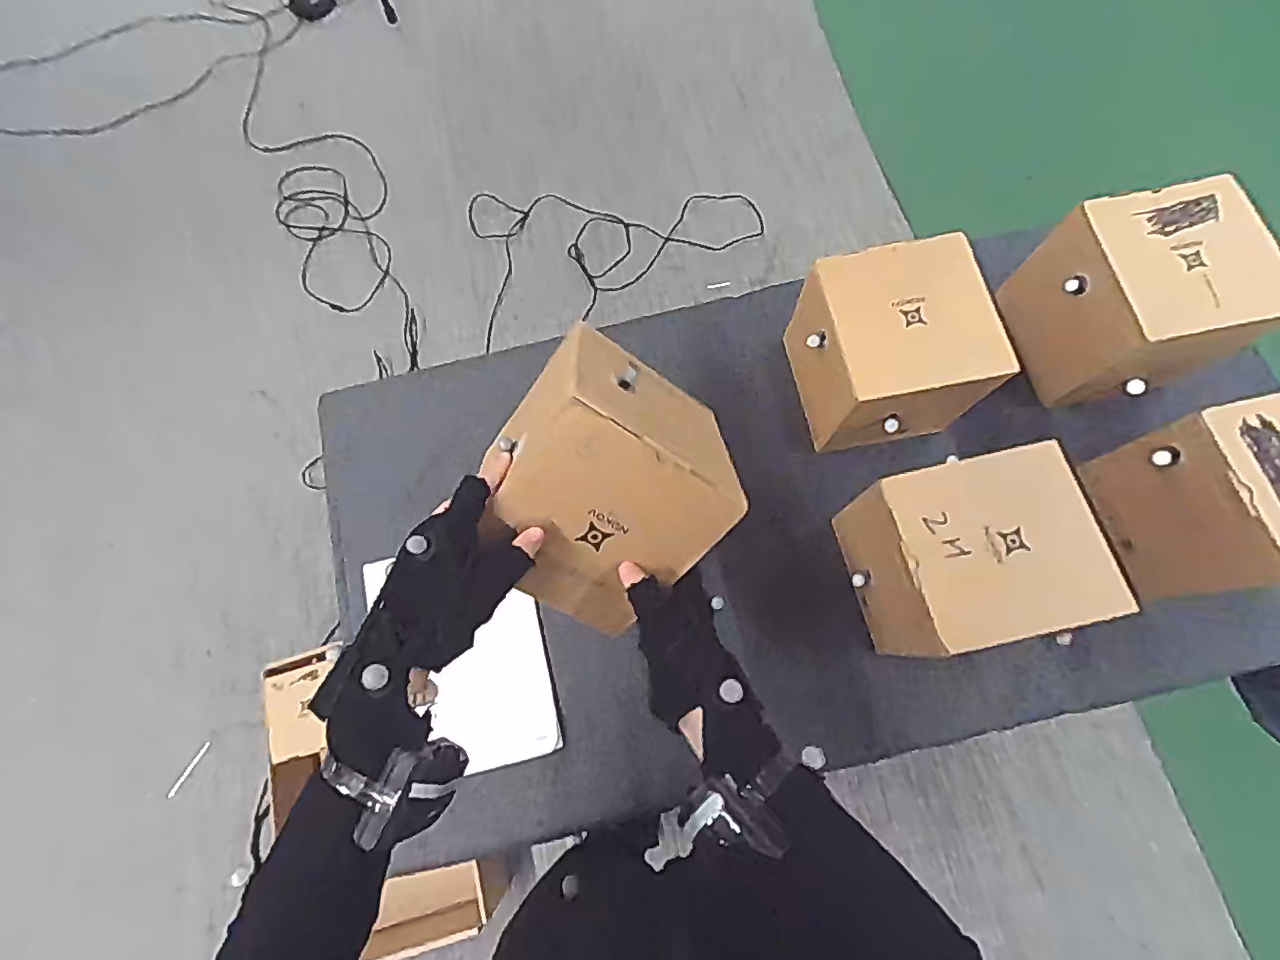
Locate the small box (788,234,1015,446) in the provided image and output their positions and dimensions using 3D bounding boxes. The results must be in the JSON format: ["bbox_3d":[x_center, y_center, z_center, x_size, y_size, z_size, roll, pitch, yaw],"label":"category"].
[{"bbox_3d":[0.289,-0.151,0.642,0.168,0.176,0.179,-10,73,1],"label":"small box"}]

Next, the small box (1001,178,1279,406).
[{"bbox_3d":[0.572,-0.210,0.637,0.168,0.176,0.179,-11,74,1],"label":"small box"}]

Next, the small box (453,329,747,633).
[{"bbox_3d":[-0.038,-0.006,0.480,0.168,0.176,0.179,30,115,-21],"label":"small box"}]

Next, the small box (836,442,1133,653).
[{"bbox_3d":[0.333,0.079,0.566,0.179,0.176,0.168,-13,72,0],"label":"small box"}]
